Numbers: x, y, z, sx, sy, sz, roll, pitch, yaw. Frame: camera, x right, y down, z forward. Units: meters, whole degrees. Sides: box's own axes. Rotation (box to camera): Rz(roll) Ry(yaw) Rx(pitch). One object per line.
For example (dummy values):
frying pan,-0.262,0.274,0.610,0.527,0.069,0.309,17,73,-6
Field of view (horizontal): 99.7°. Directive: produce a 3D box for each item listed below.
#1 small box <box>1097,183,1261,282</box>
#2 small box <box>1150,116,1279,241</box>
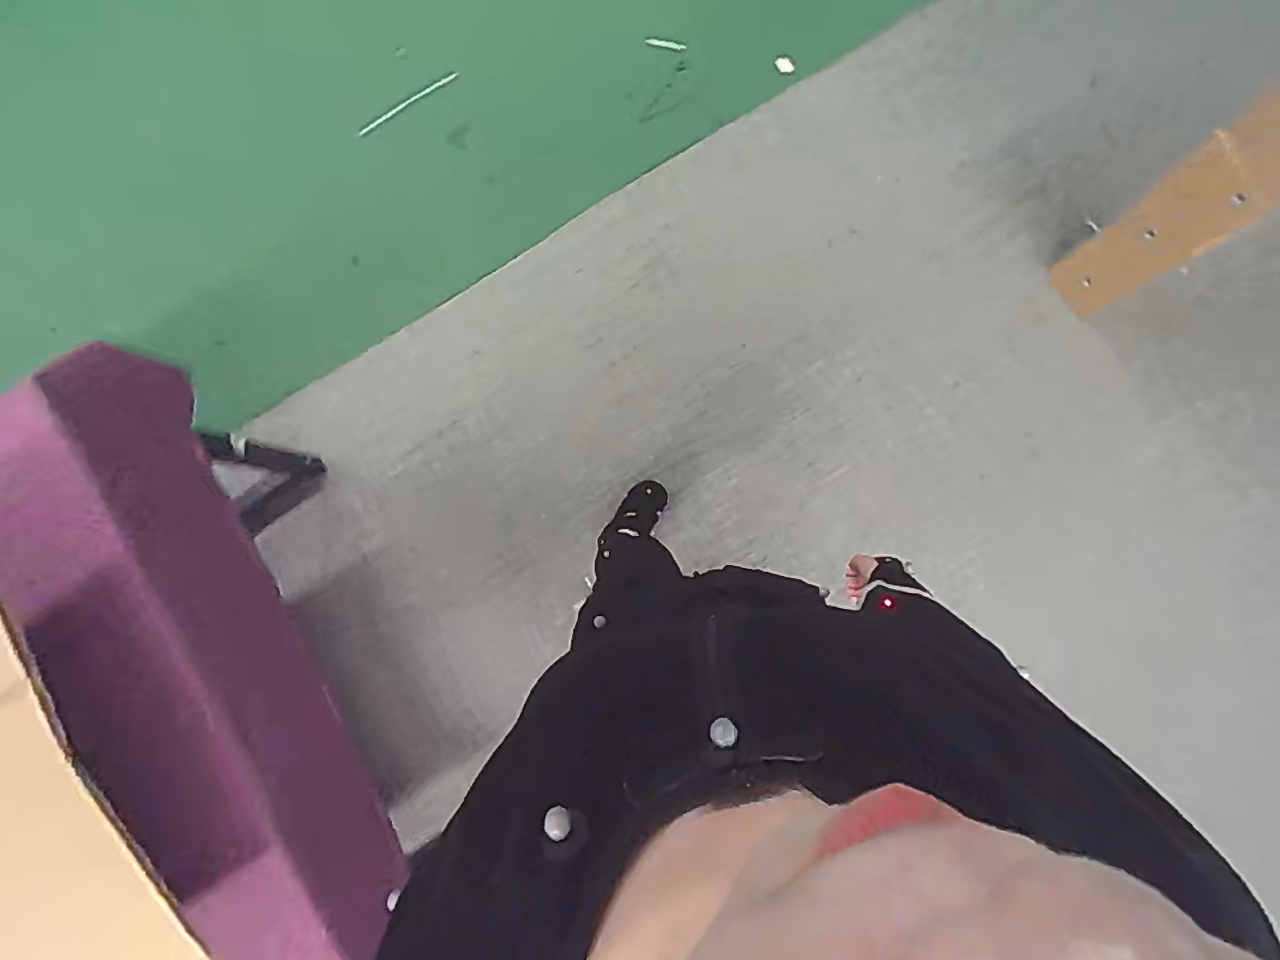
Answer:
small box,1.229,-0.597,1.251,0.168,0.176,0.179,-29,82,2
small box,1.209,-0.627,1.092,0.168,0.176,0.179,-26,82,1
